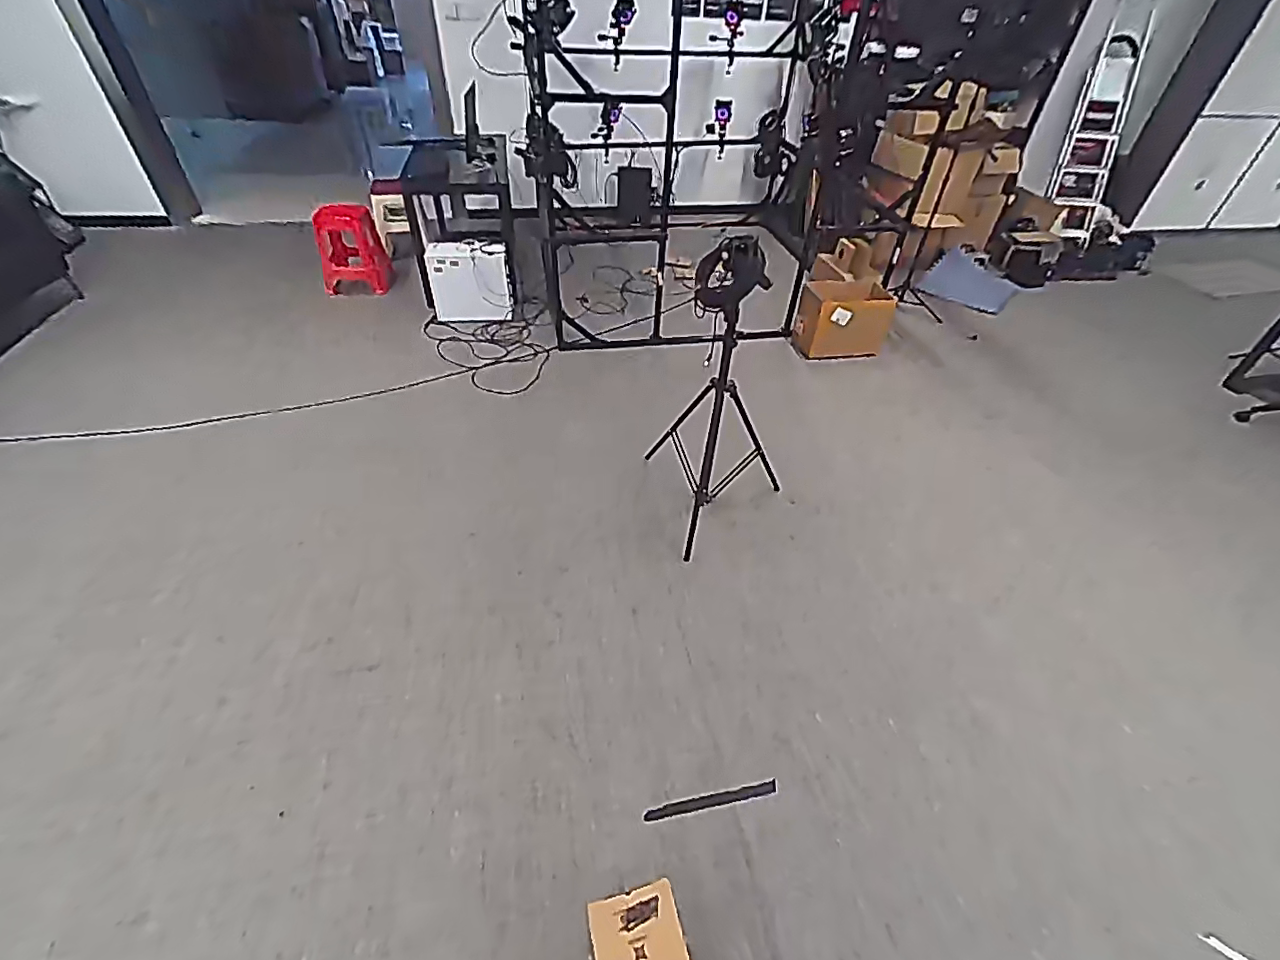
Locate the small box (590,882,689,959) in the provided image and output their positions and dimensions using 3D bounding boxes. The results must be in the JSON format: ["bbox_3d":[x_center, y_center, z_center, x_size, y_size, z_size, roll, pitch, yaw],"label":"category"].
[{"bbox_3d":[-0.001,0.916,1.037,0.168,0.176,0.179,-10,45,-12],"label":"small box"}]
